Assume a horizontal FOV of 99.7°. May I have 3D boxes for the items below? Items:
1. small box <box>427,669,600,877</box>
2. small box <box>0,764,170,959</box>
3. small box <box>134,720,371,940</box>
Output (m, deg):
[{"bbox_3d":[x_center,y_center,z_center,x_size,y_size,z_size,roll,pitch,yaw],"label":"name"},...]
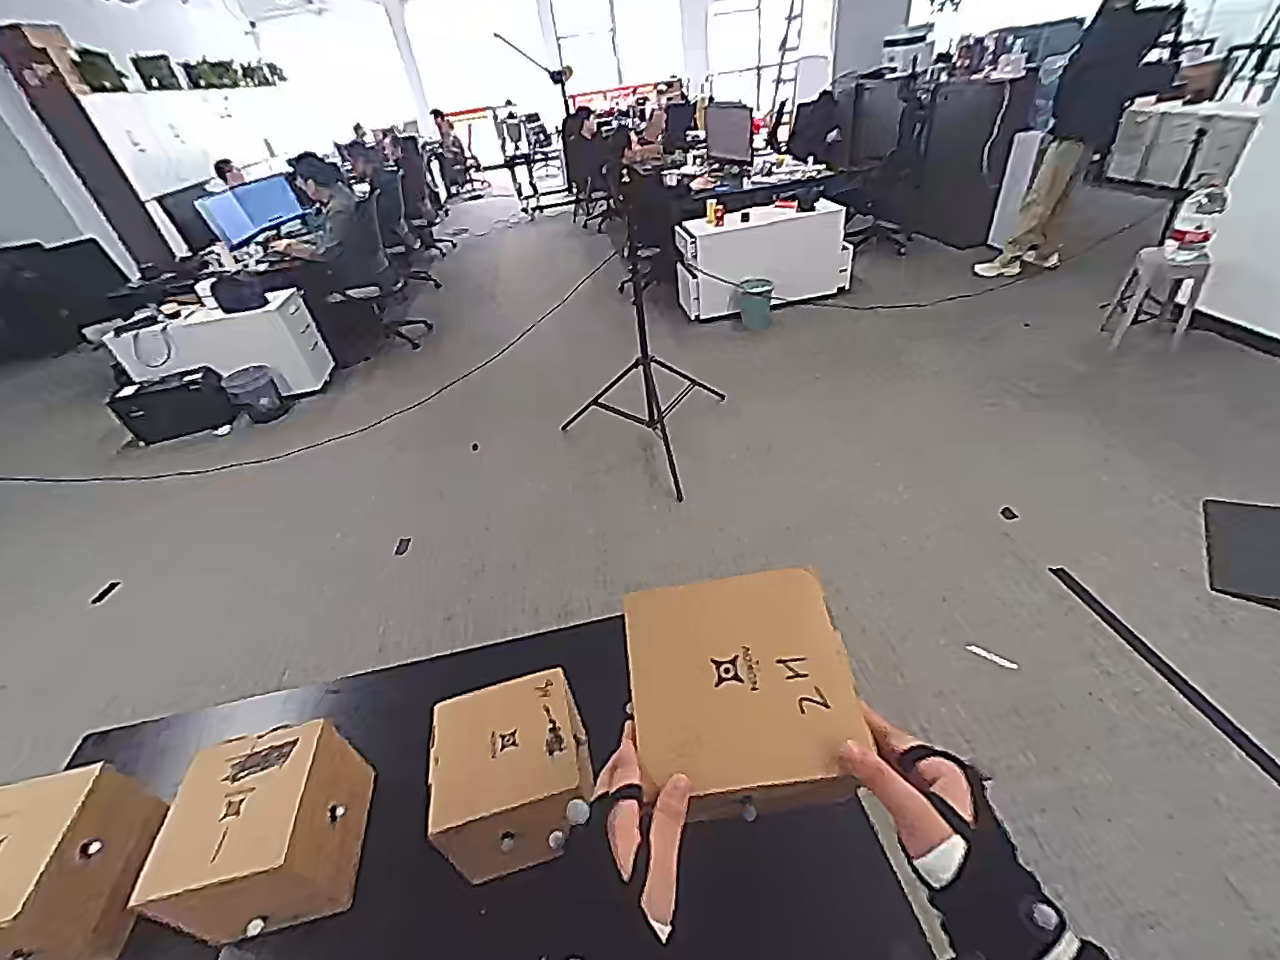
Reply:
[{"bbox_3d":[-0.164,0.391,0.723,0.179,0.176,0.168,-15,38,-7],"label":"small box"},{"bbox_3d":[-0.757,0.505,0.689,0.168,0.176,0.179,-12,37,-7],"label":"small box"},{"bbox_3d":[-0.475,0.451,0.704,0.168,0.176,0.179,-12,38,-5],"label":"small box"}]
